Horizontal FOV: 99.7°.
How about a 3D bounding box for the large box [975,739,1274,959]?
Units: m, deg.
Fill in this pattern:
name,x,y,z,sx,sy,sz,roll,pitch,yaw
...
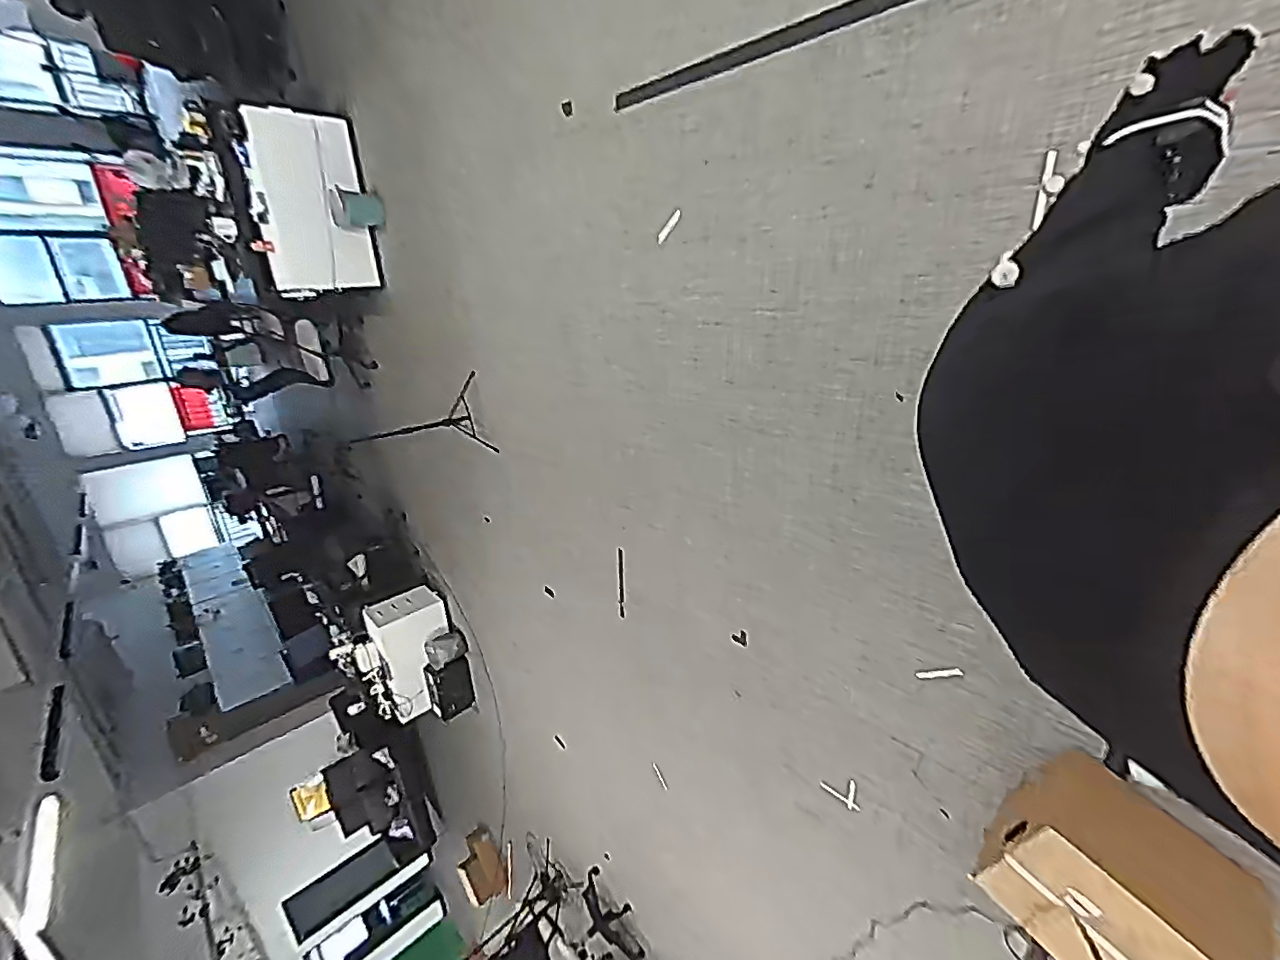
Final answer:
name,x,y,z,sx,sy,sz,roll,pitch,yaw
large box,1.115,0.923,1.272,0.408,0.320,0.320,40,132,32
